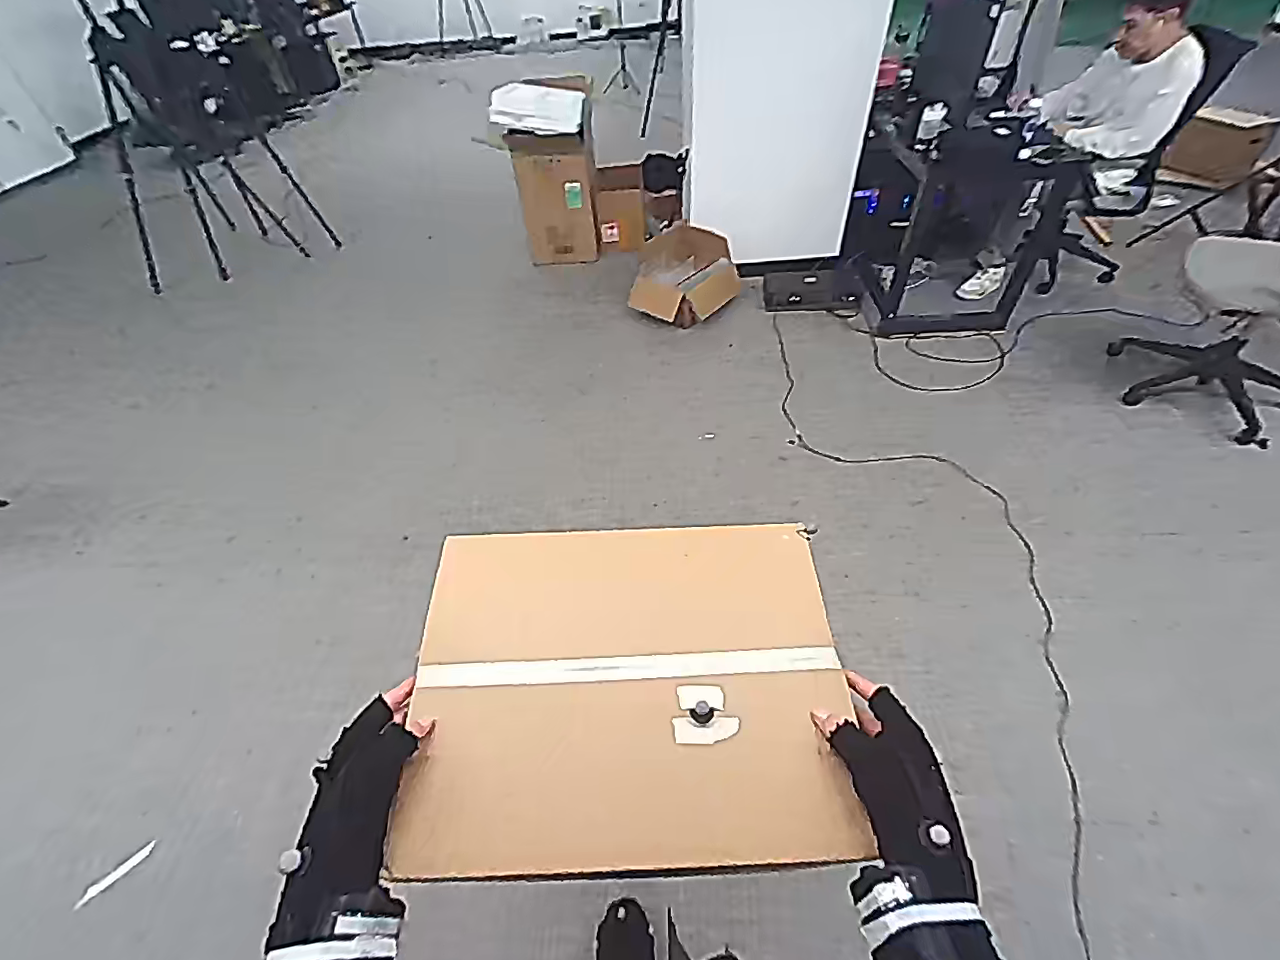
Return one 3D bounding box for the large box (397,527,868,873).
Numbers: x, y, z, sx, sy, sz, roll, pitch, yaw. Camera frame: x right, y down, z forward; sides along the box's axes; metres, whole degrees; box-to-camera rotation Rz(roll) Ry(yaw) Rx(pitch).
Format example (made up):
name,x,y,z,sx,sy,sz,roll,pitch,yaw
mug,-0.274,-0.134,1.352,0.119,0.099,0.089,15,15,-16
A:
name,x,y,z,sx,sy,sz,roll,pitch,yaw
large box,-0.009,0.273,0.655,0.408,0.320,0.320,-1,53,0
